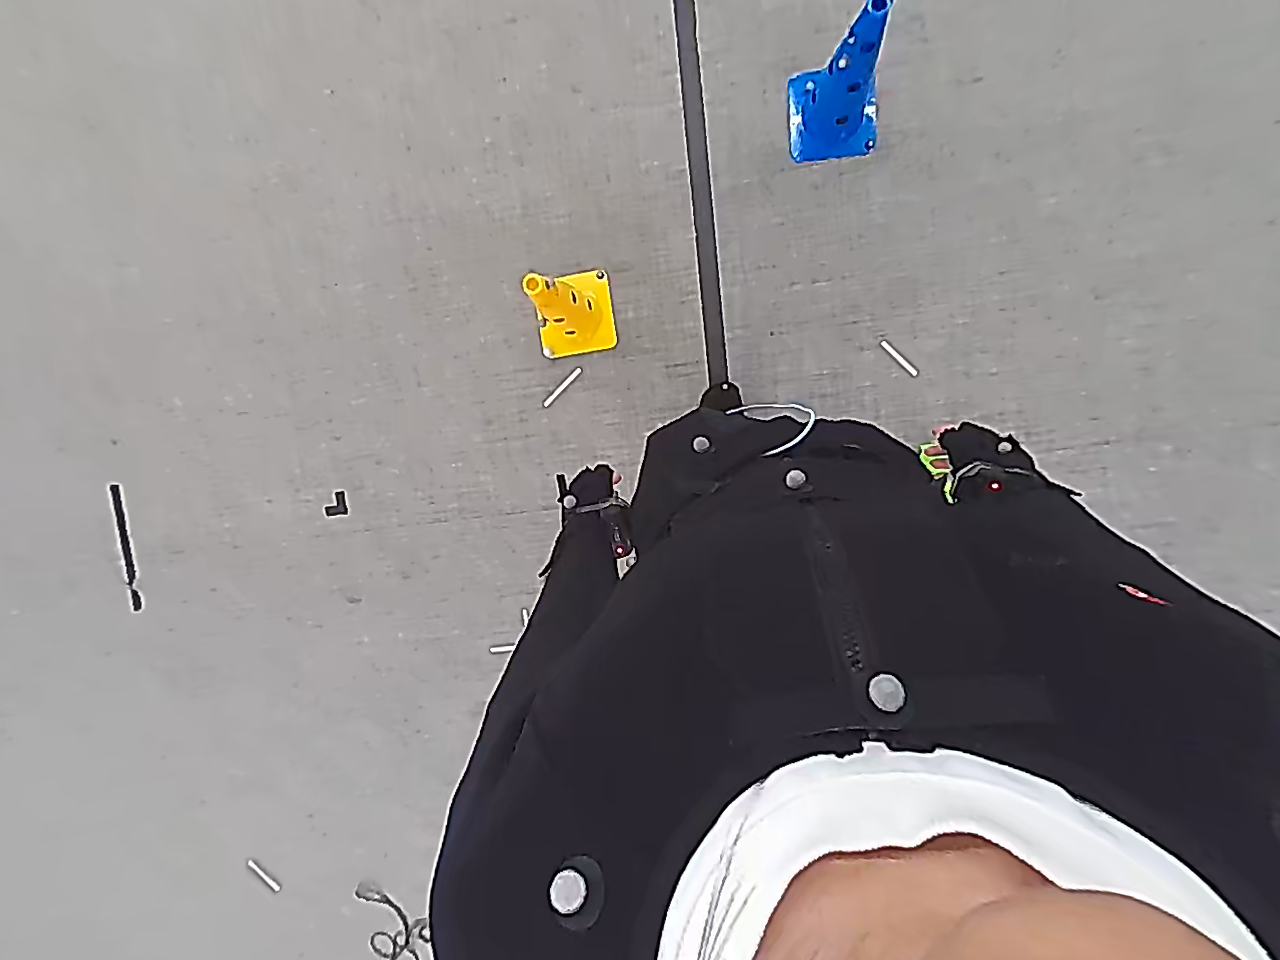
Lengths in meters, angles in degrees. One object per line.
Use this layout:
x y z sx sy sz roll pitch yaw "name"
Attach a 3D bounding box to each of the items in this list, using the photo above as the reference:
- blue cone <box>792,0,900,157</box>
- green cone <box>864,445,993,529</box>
0.444 -0.854 1.127 0.192 0.380 0.193 -2 97 6 "blue cone"
0.654 0.039 1.189 0.202 0.368 0.200 -6 96 6 "green cone"
